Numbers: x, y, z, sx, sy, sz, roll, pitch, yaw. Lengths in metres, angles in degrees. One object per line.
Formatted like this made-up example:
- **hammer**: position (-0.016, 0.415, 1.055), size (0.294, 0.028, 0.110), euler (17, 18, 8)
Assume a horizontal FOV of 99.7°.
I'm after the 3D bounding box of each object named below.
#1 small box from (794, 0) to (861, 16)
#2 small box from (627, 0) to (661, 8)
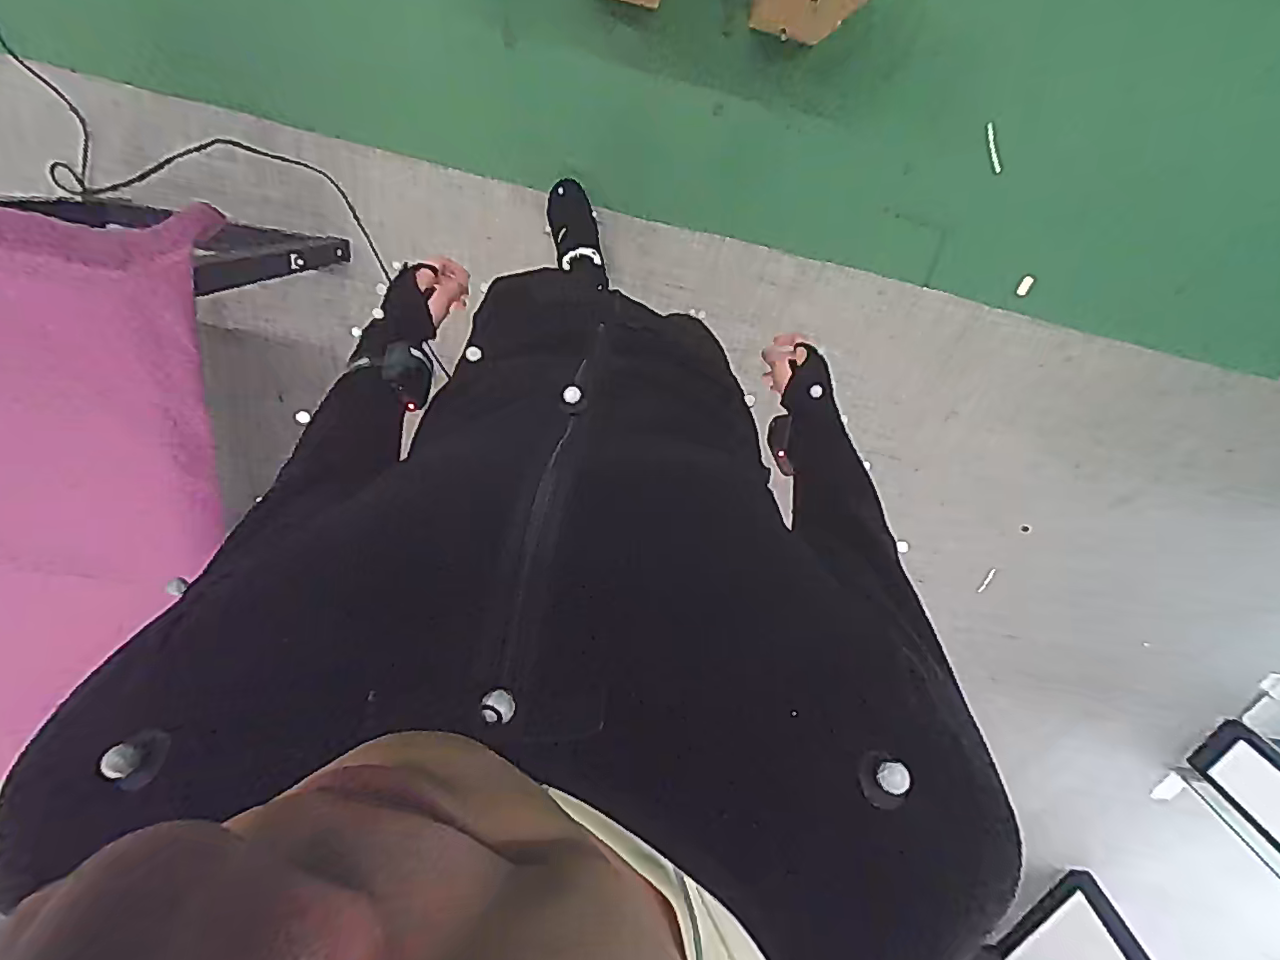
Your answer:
- **small box**: position (0.349, -0.972, 0.964), size (0.168, 0.176, 0.179), euler (11, 118, -8)
- **small box**: position (-0.021, -1.089, 1.079), size (0.168, 0.176, 0.179), euler (9, 116, -5)
